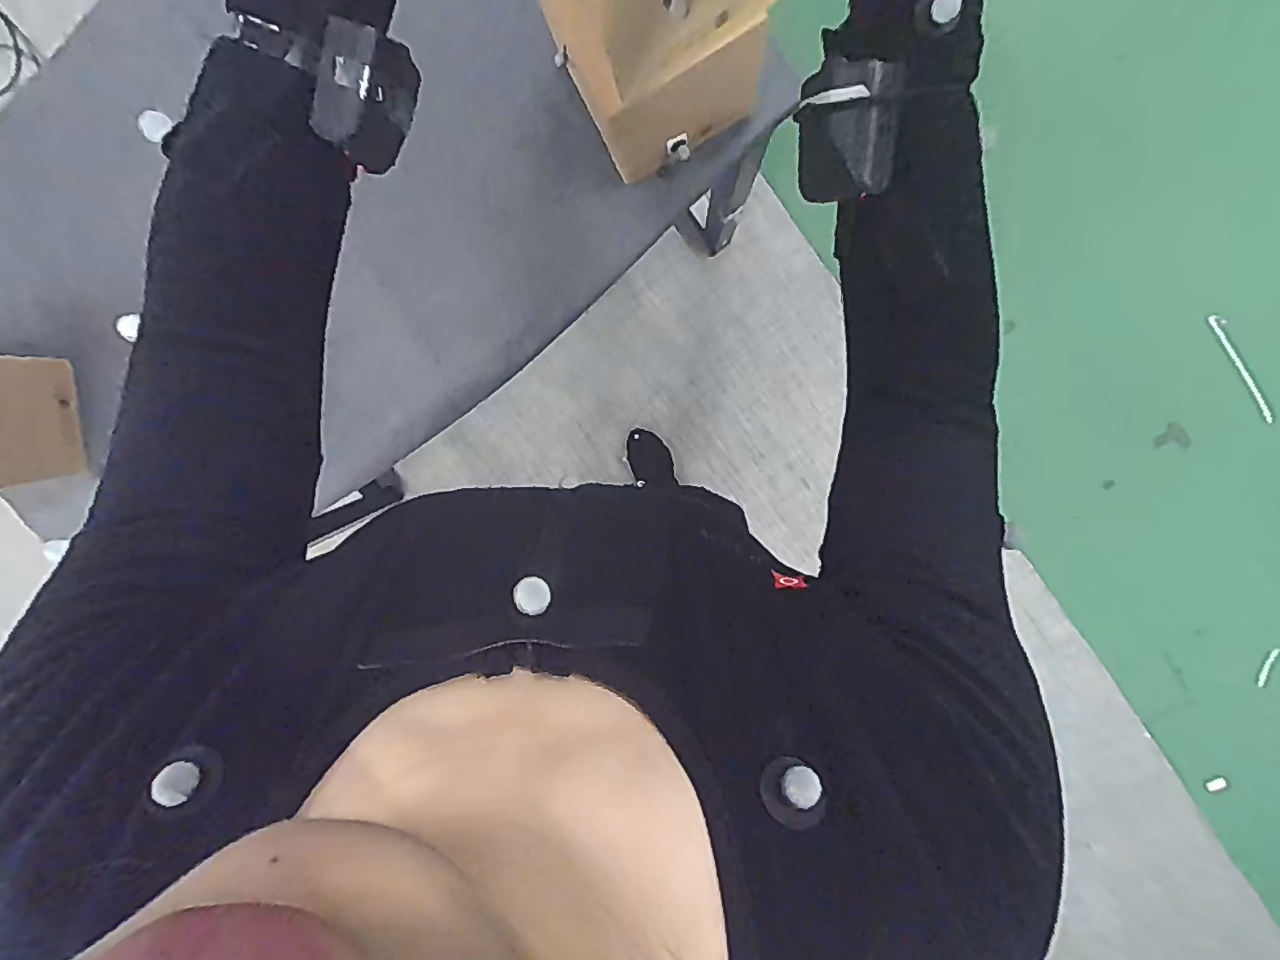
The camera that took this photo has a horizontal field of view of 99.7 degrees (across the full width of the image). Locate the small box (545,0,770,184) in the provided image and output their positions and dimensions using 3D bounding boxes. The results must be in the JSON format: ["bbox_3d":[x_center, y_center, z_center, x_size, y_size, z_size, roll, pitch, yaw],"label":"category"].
[{"bbox_3d":[0.013,-0.449,0.554,0.168,0.176,0.179,-27,95,10],"label":"small box"}]

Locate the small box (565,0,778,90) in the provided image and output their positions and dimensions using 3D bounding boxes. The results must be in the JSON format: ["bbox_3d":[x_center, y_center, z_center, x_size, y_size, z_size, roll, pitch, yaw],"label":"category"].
[{"bbox_3d":[0.006,-0.433,0.392,0.168,0.176,0.179,-29,94,10],"label":"small box"}]

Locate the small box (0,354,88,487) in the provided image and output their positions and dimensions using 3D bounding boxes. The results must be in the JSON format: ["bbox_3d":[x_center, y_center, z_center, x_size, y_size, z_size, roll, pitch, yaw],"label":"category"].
[{"bbox_3d":[-0.884,-0.077,0.695,0.179,0.176,0.168,4,102,3],"label":"small box"}]
